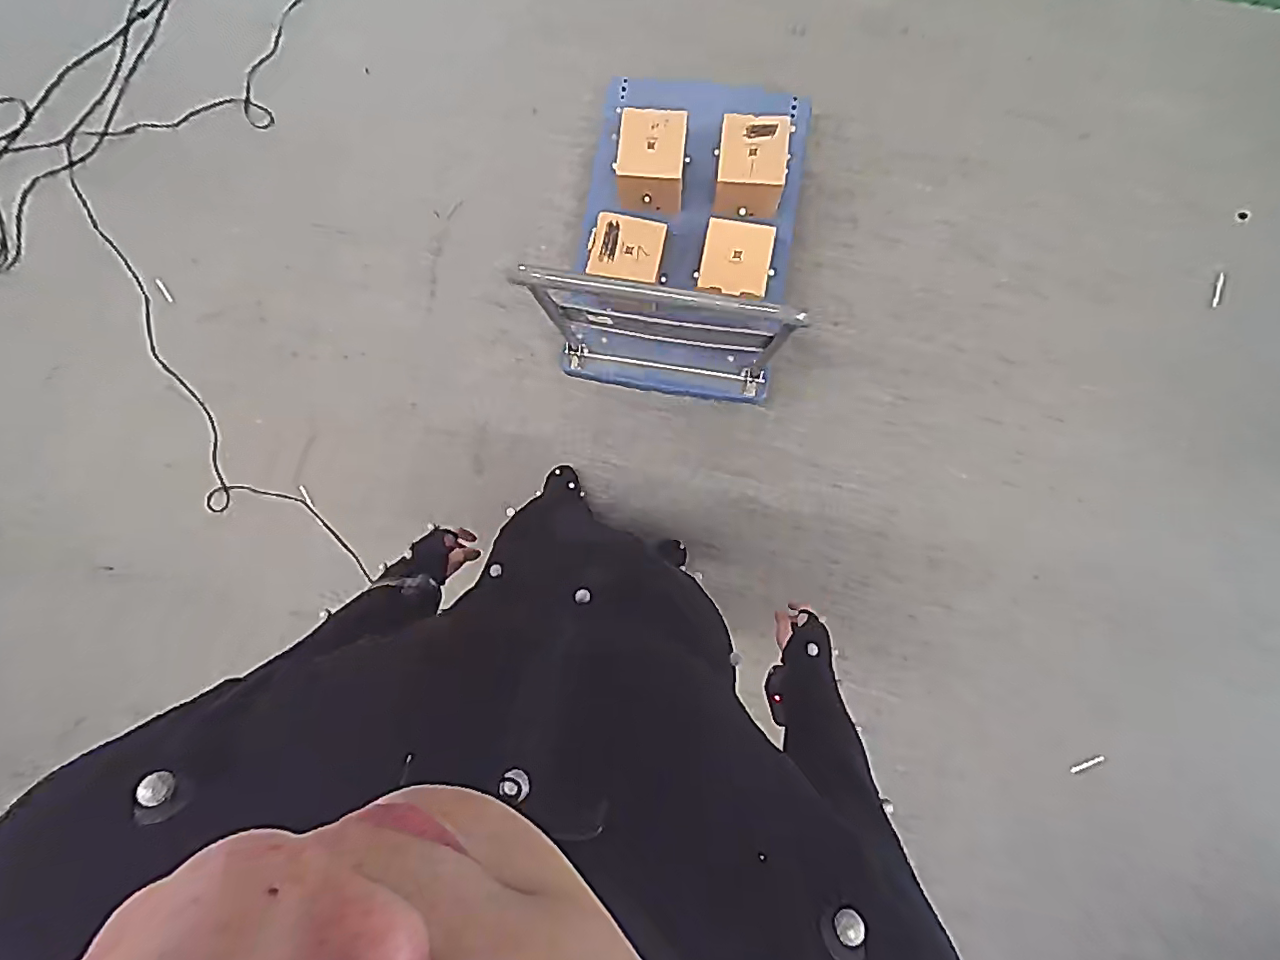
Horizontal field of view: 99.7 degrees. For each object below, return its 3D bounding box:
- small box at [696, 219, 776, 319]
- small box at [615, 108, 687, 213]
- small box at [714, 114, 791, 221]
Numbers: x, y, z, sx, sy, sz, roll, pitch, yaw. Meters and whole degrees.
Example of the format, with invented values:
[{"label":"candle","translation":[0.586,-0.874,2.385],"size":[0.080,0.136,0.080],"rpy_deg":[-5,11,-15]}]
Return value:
[{"label":"small box","translation":[0.240,-0.537,1.393],"size":[0.168,0.176,0.179],"rpy_deg":[10,89,4]},{"label":"small box","translation":[0.033,-0.828,1.418],"size":[0.168,0.176,0.179],"rpy_deg":[6,88,3]},{"label":"small box","translation":[0.284,-0.804,1.400],"size":[0.168,0.176,0.179],"rpy_deg":[6,89,5]}]
